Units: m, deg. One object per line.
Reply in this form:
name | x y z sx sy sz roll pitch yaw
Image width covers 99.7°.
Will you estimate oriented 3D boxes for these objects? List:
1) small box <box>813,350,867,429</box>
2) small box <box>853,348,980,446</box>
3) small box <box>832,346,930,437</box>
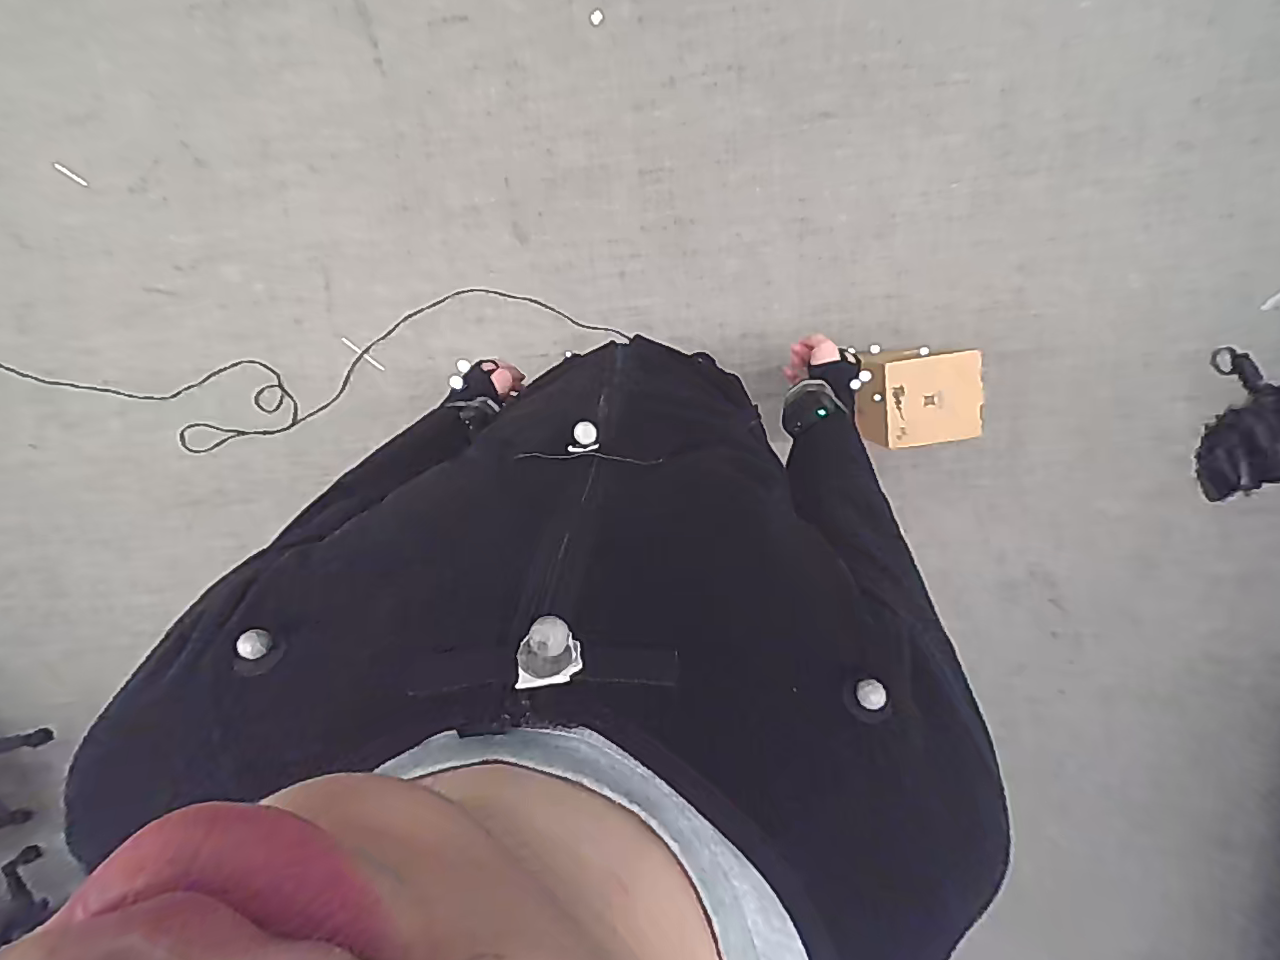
small box | 0.561 -0.240 1.410 0.168 0.176 0.179 -10 101 4
small box | 0.550 -0.173 1.089 0.179 0.176 0.168 -8 103 3
small box | 0.555 -0.209 1.248 0.168 0.176 0.179 -10 102 4
